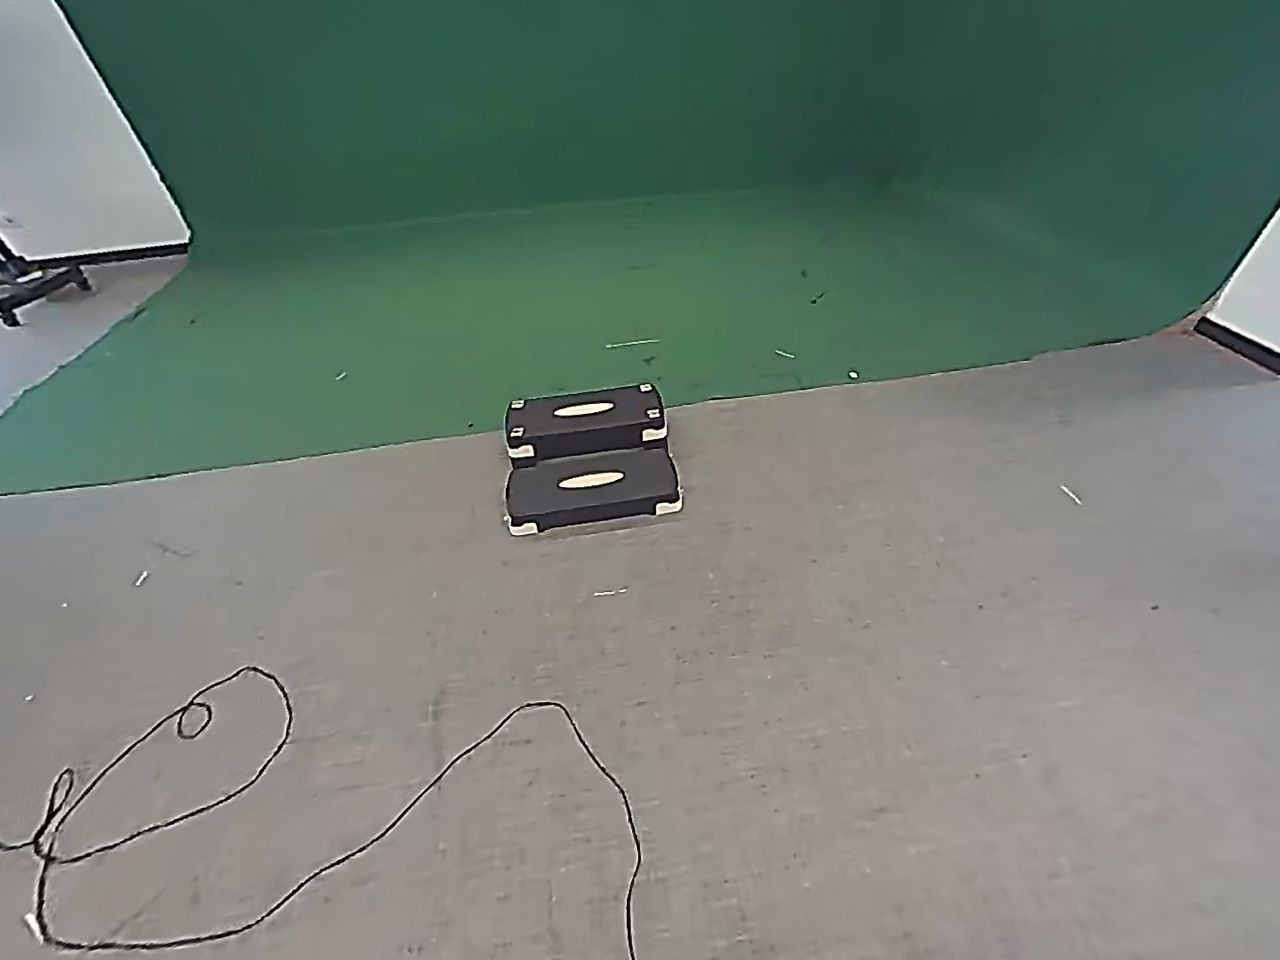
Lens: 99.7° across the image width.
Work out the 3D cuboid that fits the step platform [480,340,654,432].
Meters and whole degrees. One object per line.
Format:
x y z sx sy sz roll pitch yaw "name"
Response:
-0.285 -0.387 2.209 0.684 0.204 0.286 -9 43 -4 "step platform"
